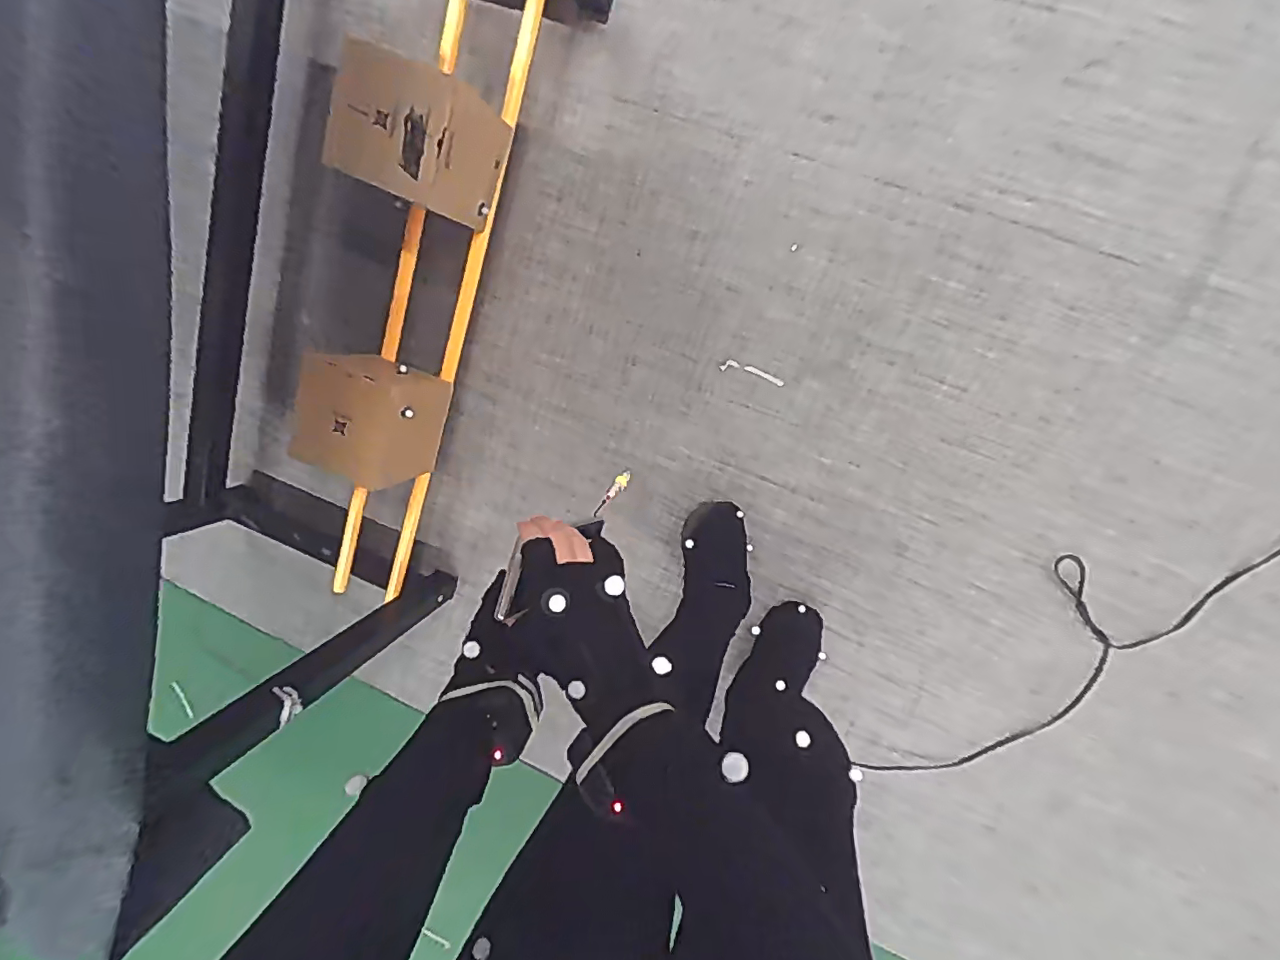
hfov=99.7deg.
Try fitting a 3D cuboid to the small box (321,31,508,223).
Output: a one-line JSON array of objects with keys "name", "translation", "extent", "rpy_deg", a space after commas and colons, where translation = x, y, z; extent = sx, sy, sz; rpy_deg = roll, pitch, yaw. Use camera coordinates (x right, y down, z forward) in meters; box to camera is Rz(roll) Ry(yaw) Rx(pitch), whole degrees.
[{"name": "small box", "translation": [-0.323, -0.503, 0.801], "extent": [0.179, 0.176, 0.168], "rpy_deg": [25, 106, 7]}]
